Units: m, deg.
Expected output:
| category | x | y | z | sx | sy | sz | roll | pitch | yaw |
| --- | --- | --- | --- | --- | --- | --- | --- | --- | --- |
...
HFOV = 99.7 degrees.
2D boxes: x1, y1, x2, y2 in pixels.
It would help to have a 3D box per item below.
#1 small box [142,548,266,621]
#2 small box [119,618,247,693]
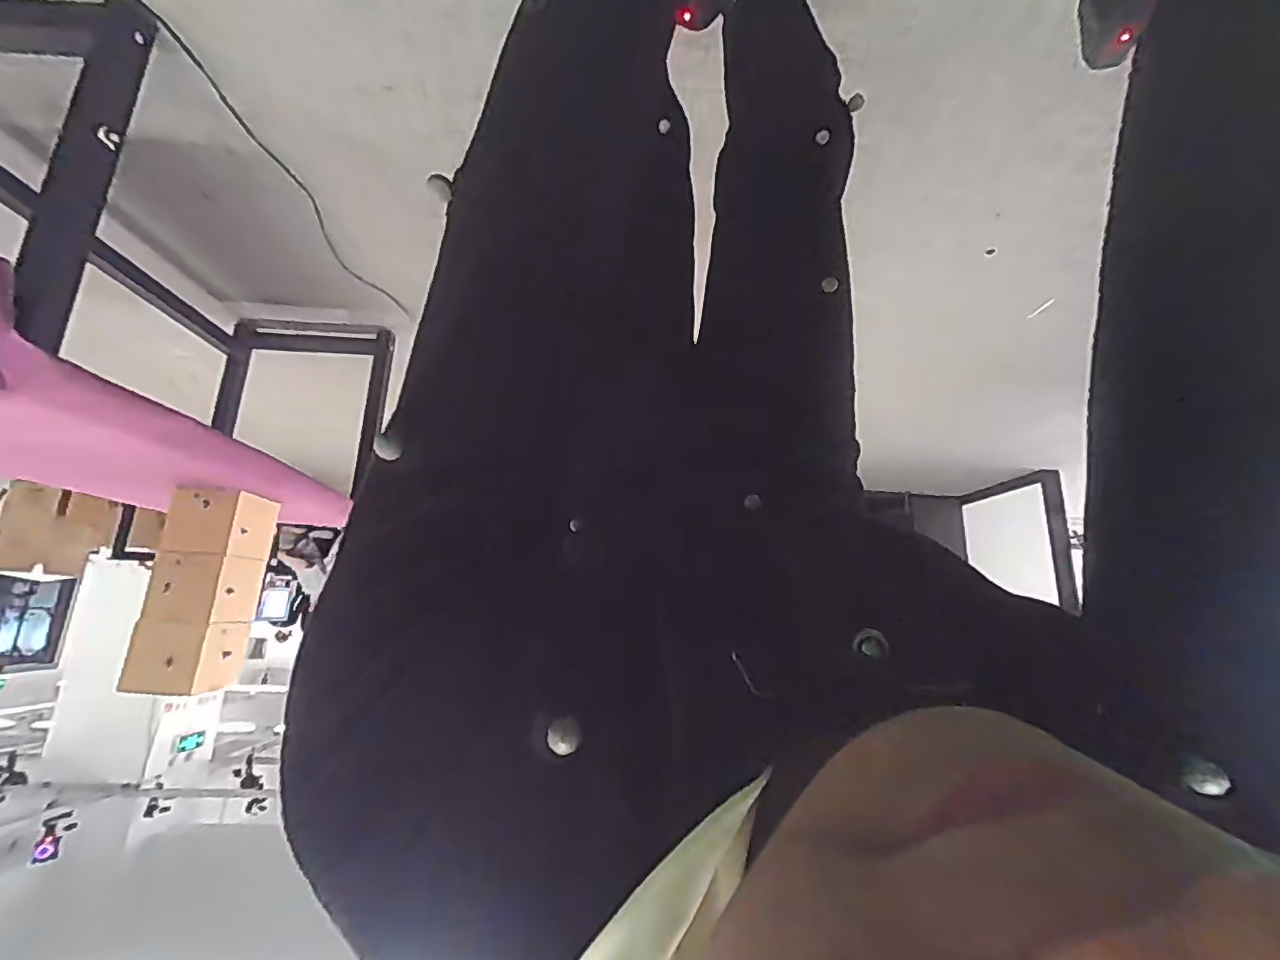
| category | x | y | z | sx | sy | sz | roll | pitch | yaw |
| --- | --- | --- | --- | --- | --- | --- | --- | --- | --- |
| small box | -1.105 | 0.270 | 1.384 | 0.168 | 0.176 | 0.179 | 4 | 165 | -3 |
| small box | -1.119 | 0.427 | 1.342 | 0.179 | 0.176 | 0.168 | 3 | 165 | -2 |
